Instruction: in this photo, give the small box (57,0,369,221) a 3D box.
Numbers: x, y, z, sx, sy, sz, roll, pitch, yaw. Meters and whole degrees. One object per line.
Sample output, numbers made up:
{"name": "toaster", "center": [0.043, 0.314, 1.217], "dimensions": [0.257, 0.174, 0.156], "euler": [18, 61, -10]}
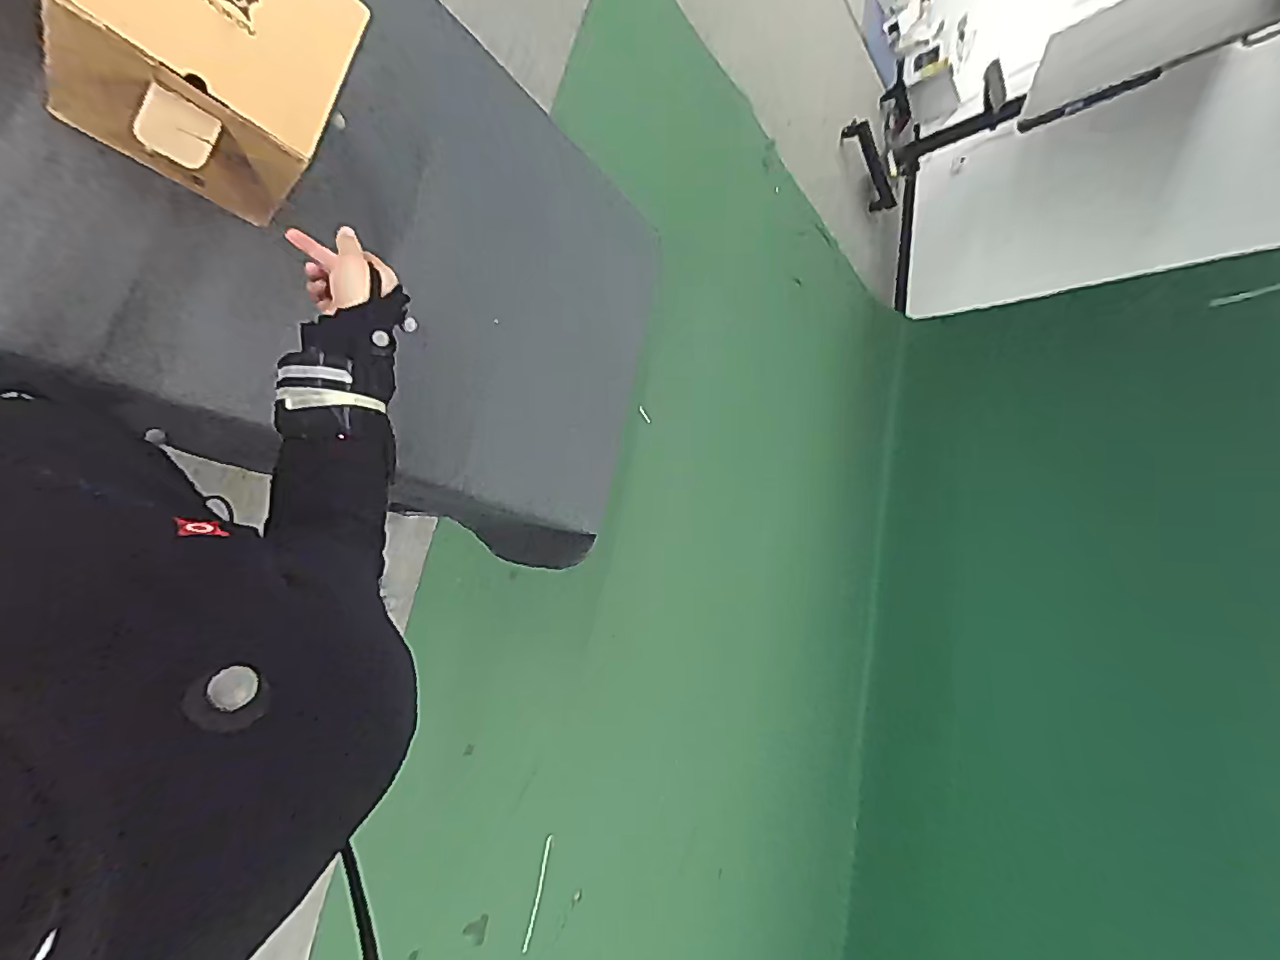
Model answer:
{"name": "small box", "center": [-0.383, -0.378, 0.488], "dimensions": [0.168, 0.176, 0.179], "euler": [25, 71, -44]}
